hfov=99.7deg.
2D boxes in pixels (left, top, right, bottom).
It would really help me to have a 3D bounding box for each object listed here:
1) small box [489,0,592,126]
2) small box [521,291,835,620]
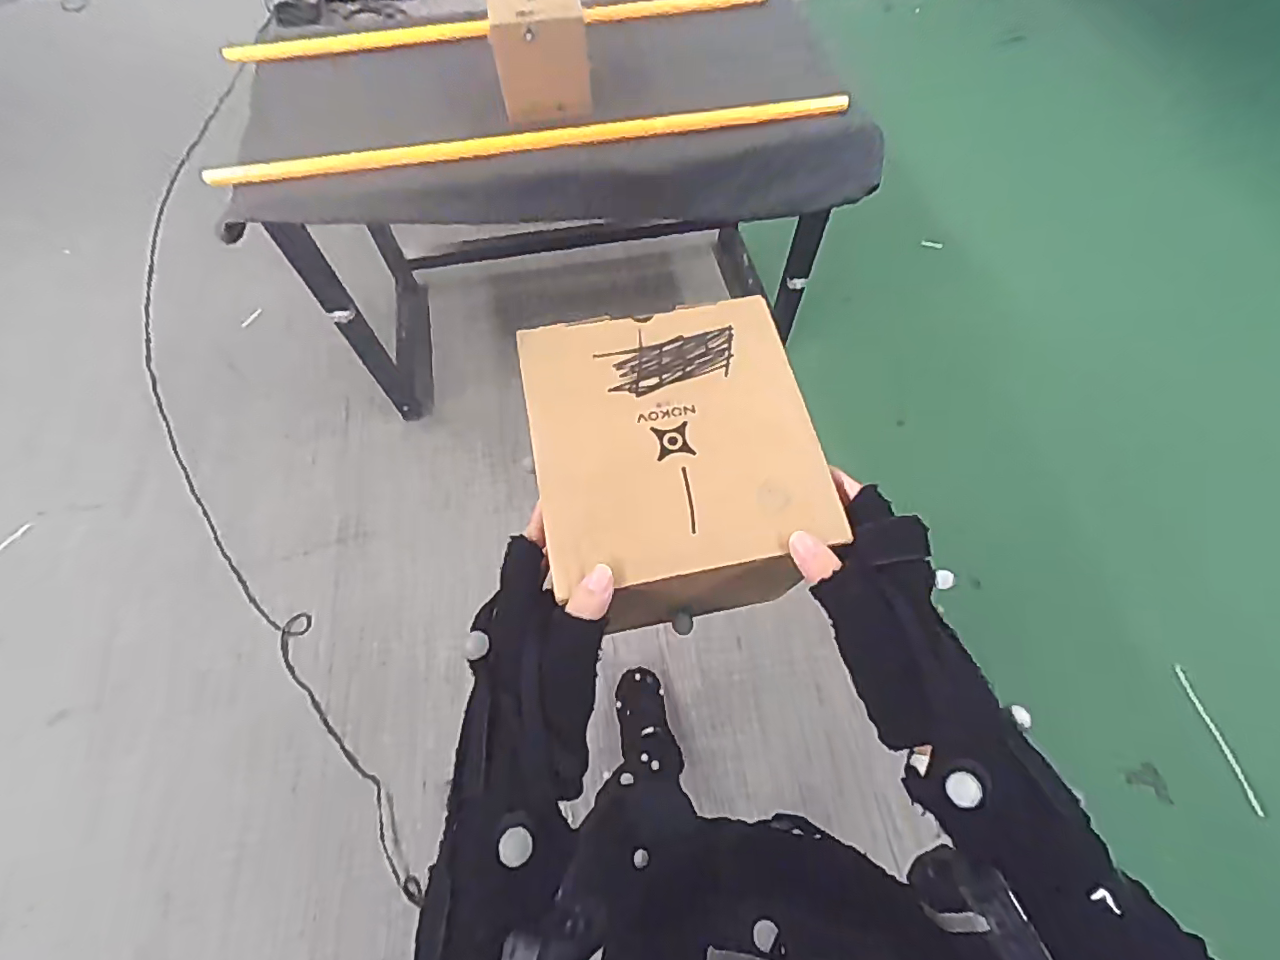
[{"bbox_3d":[-0.190,-0.824,1.045,0.168,0.176,0.179,-10,63,-4],"label":"small box"},{"bbox_3d":[0.014,-0.007,0.403,0.168,0.176,0.179,-10,68,-5],"label":"small box"}]
